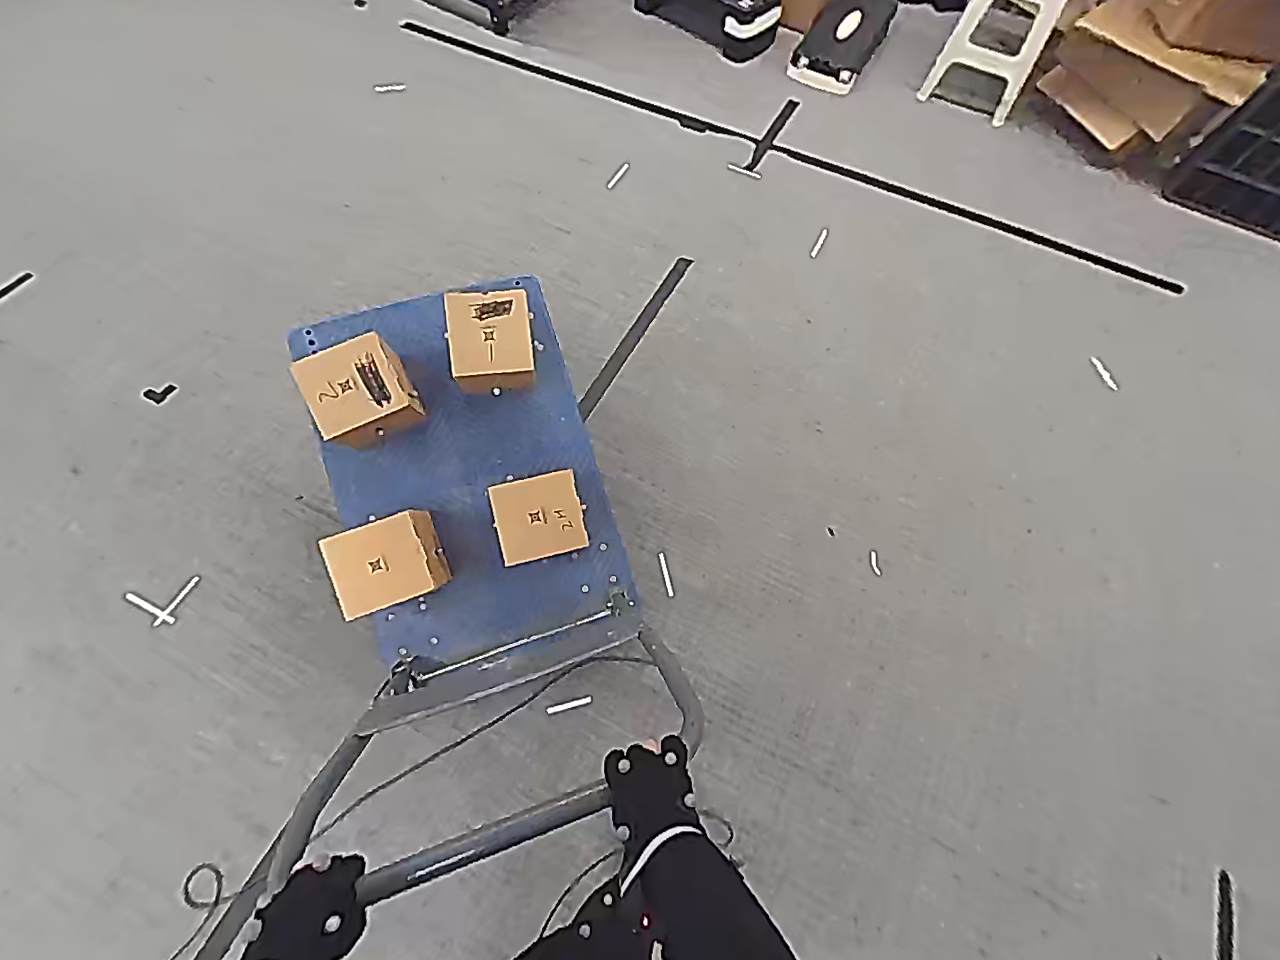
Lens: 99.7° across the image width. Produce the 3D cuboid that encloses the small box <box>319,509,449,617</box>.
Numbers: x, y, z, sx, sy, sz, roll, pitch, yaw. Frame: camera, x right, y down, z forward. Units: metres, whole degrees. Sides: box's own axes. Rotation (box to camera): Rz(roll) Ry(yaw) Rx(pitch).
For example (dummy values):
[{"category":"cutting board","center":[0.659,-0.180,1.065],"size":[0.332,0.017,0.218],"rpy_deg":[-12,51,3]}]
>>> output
[{"category":"small box","center":[-0.517,0.167,1.117],"size":[0.179,0.176,0.168],"rpy_deg":[-20,89,-12]}]

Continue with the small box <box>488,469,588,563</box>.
[{"category":"small box","center":[-0.216,0.078,1.171],"size":[0.179,0.176,0.168],"rpy_deg":[-13,88,-10]}]

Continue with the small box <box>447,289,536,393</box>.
[{"category":"small box","center":[-0.319,-0.299,1.185],"size":[0.168,0.176,0.179],"rpy_deg":[-6,88,-10]}]
